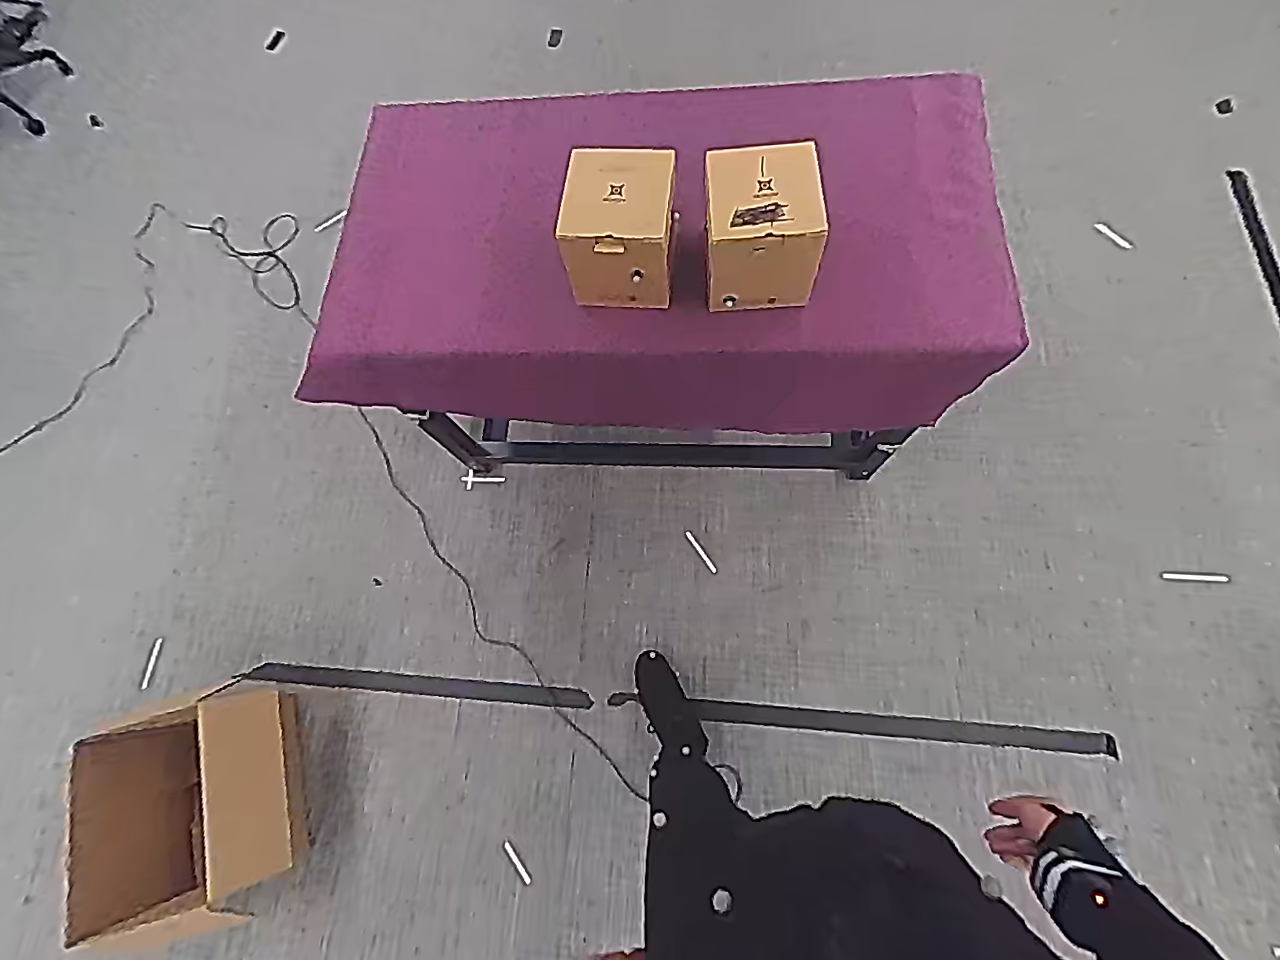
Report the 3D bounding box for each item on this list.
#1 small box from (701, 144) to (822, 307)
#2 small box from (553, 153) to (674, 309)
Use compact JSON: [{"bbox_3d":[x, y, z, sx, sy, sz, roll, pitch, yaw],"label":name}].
[{"bbox_3d":[0.185,-0.396,0.870,0.168,0.176,0.179,-3,70,5],"label":"small box"},{"bbox_3d":[-0.034,-0.404,0.896,0.168,0.176,0.179,5,72,6],"label":"small box"}]
